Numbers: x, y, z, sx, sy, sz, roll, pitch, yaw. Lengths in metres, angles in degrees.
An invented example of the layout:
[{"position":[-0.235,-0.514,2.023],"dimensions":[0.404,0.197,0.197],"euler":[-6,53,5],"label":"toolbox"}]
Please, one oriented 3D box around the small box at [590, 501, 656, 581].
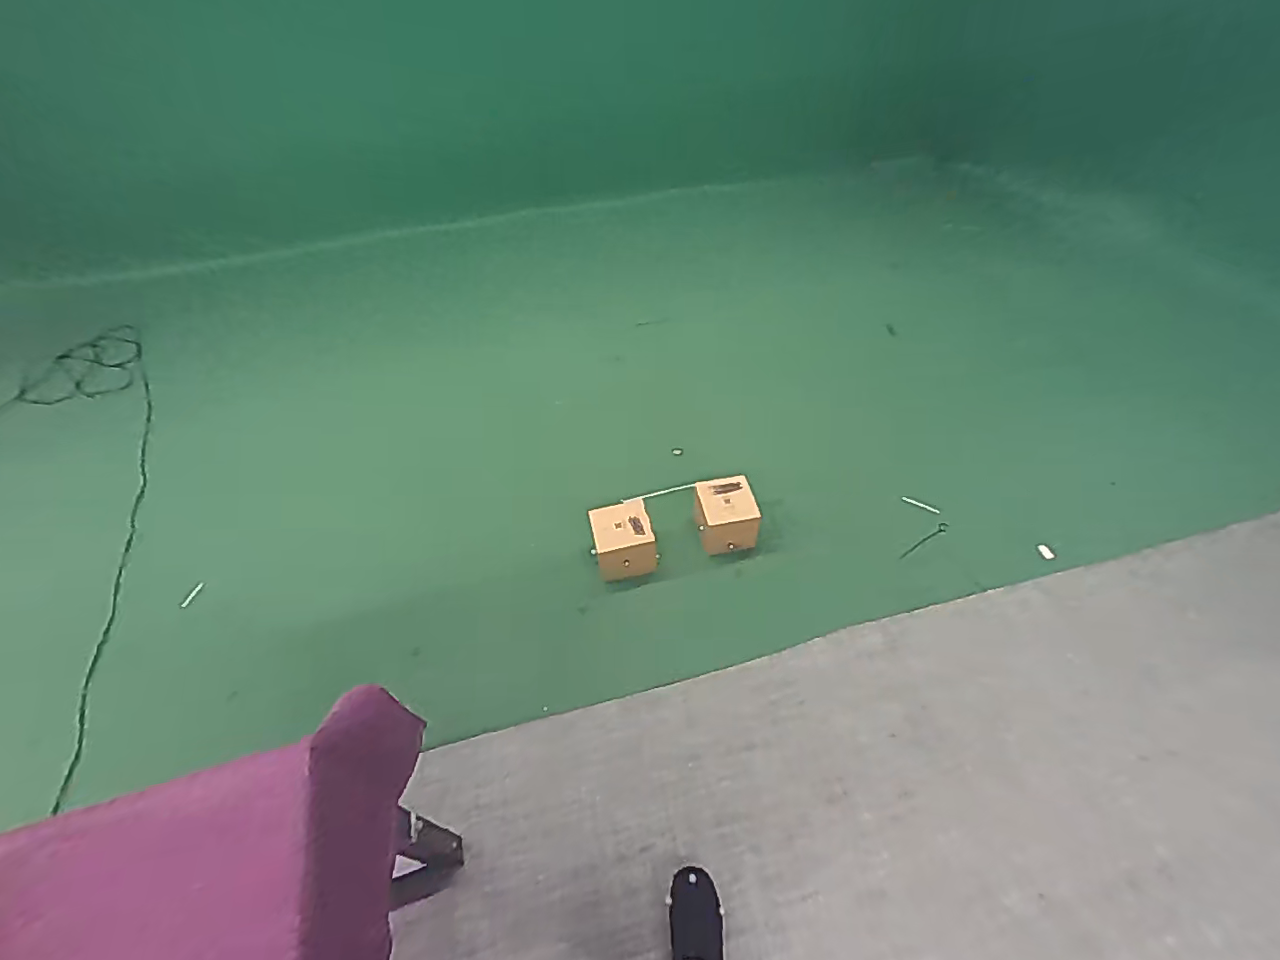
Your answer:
[{"position":[-0.052,0.192,1.691],"dimensions":[0.179,0.176,0.168],"euler":[-13,49,-6],"label":"small box"}]
